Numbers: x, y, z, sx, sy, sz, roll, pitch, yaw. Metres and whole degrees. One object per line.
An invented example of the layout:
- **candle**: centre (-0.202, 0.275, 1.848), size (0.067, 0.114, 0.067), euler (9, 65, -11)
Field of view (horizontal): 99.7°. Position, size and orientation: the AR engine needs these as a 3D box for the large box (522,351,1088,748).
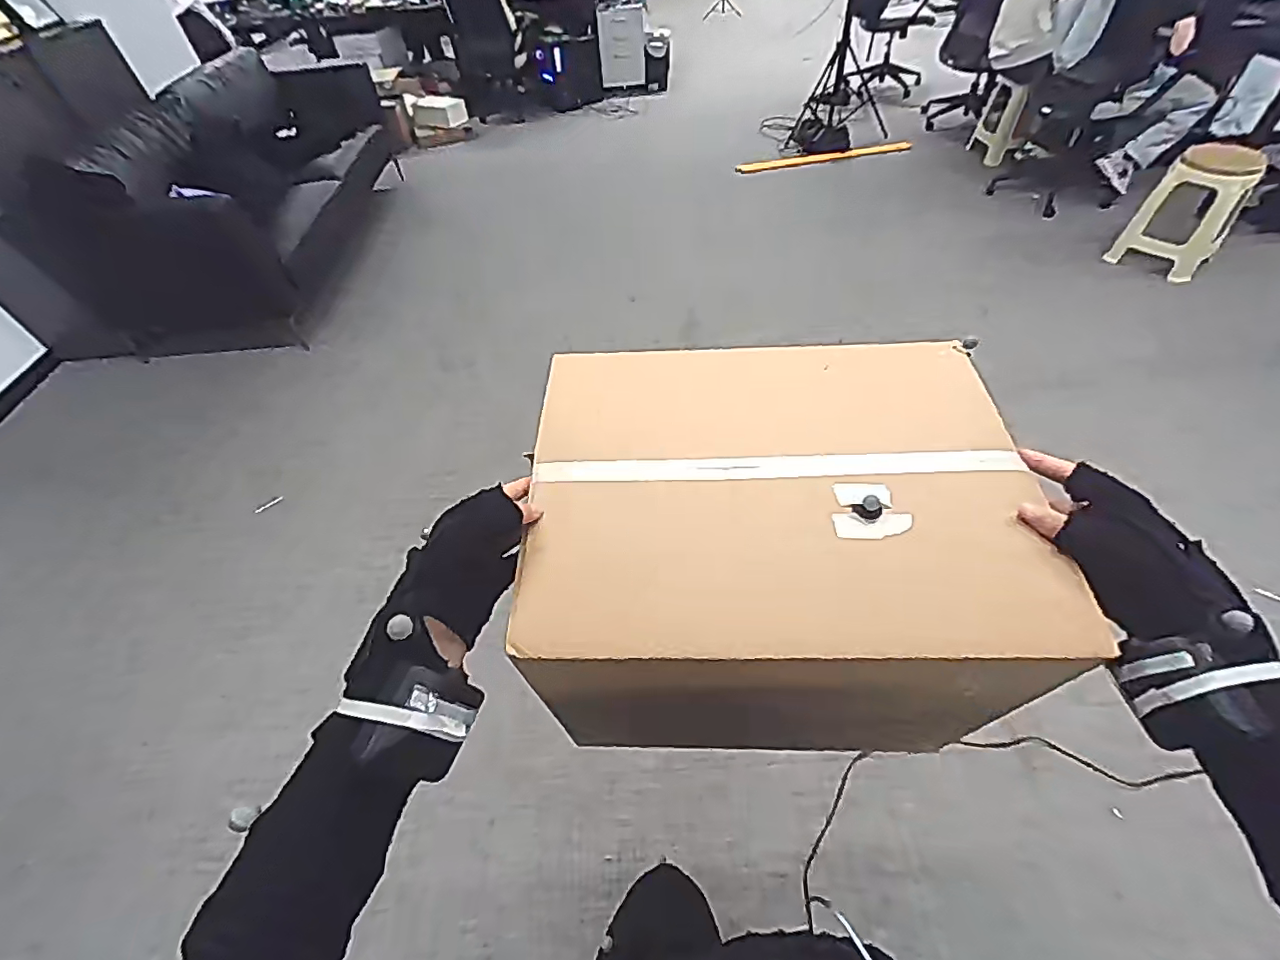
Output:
- **large box**: centre (0.119, 0.088, 0.585), size (0.408, 0.320, 0.320), euler (-2, 54, 3)
